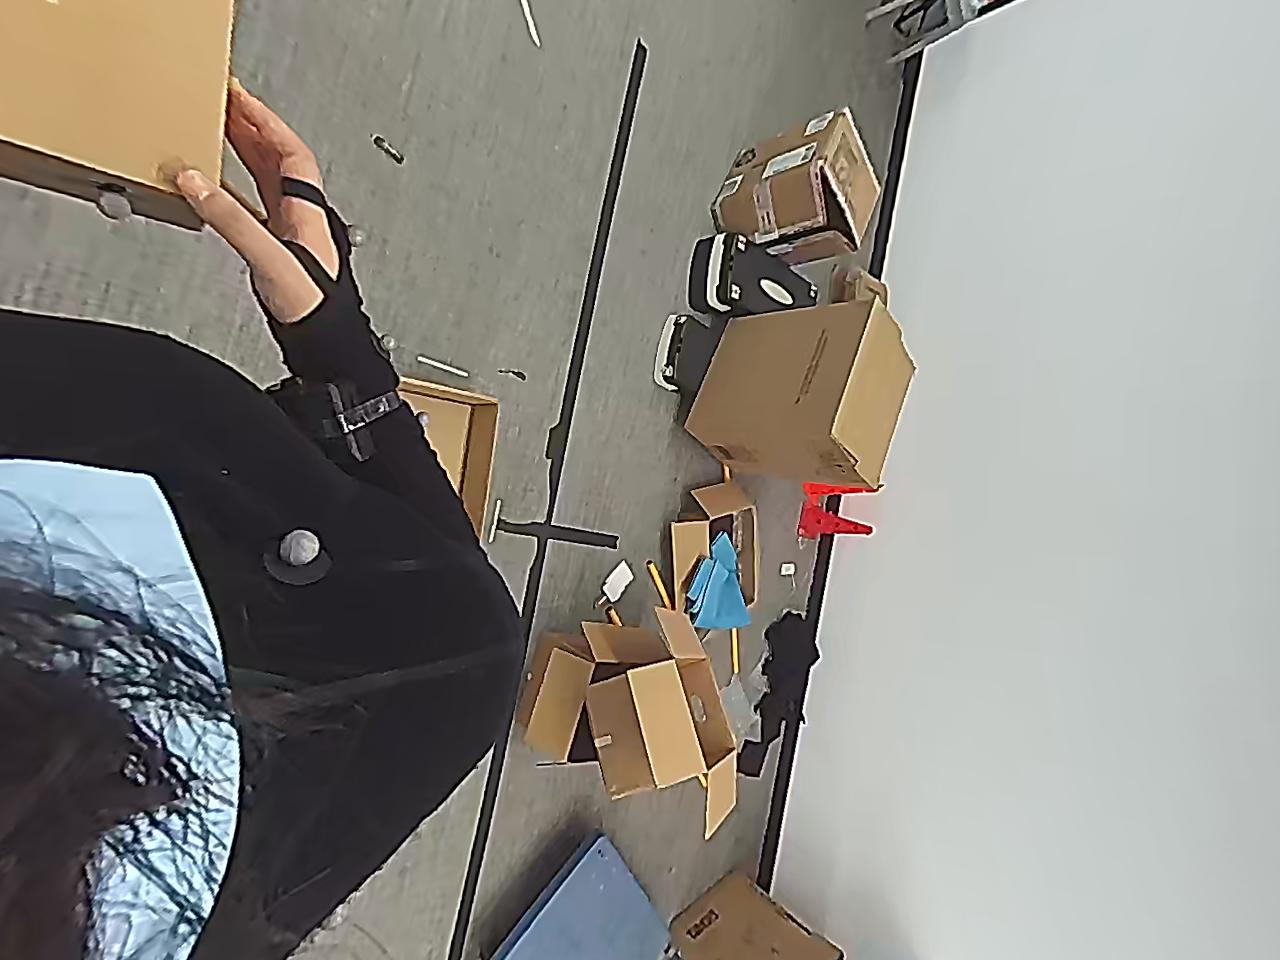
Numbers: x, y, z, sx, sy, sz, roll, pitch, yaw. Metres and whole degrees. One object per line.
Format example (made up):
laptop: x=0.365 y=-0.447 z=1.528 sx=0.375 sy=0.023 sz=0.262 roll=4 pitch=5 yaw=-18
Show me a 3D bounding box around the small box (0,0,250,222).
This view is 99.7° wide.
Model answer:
small box: x=-0.341 y=-0.261 z=0.305 sx=0.179 sy=0.176 sz=0.168 roll=4 pitch=100 yaw=-42
